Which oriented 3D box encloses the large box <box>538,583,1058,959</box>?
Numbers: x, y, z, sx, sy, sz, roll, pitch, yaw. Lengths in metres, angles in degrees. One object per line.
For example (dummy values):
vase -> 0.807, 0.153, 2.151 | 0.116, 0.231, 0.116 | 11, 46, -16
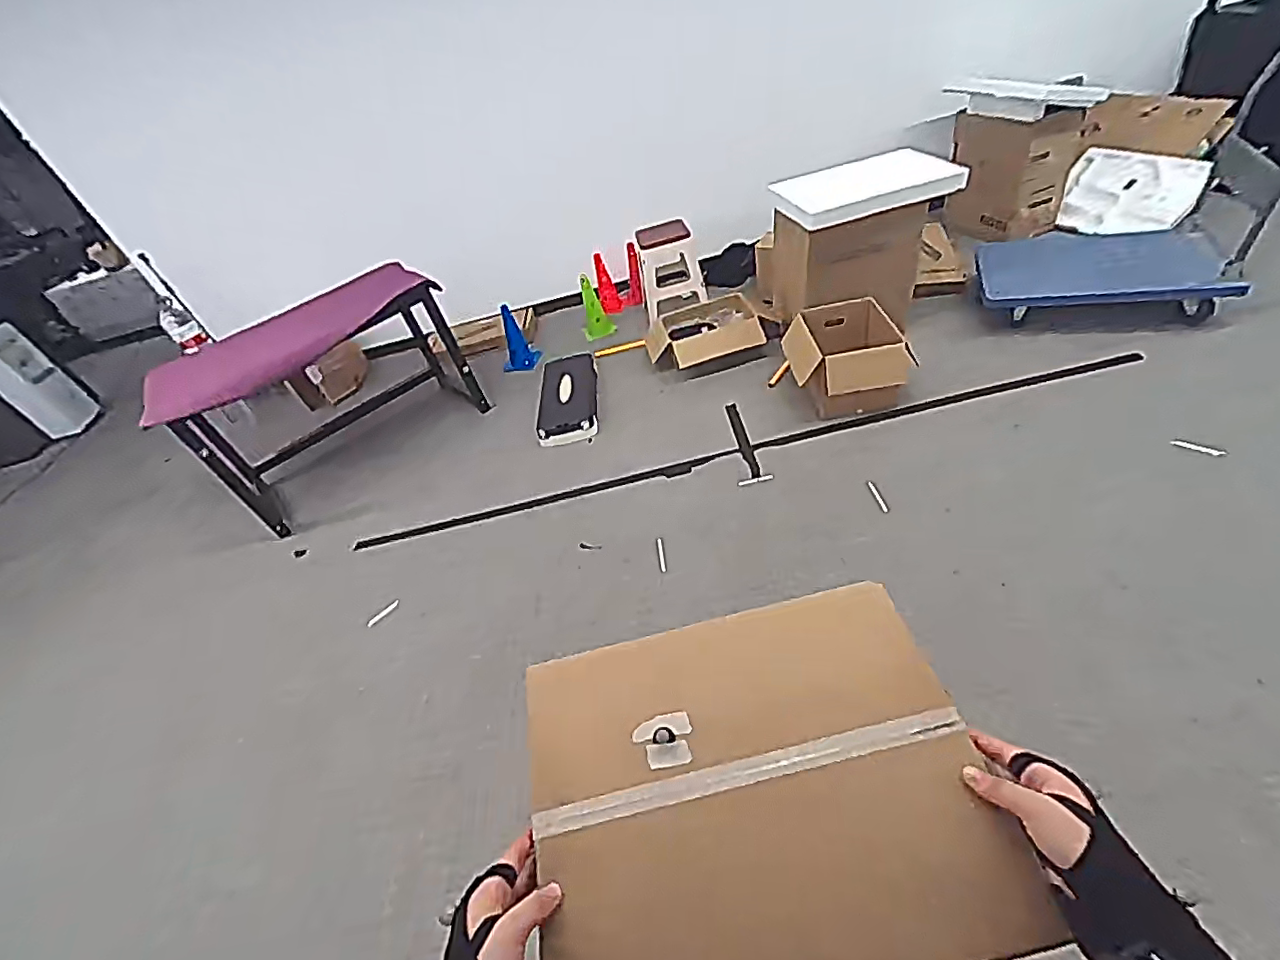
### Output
large box -> 0.132, 0.371, 0.622 | 0.408, 0.320, 0.320 | -15, 47, 1
